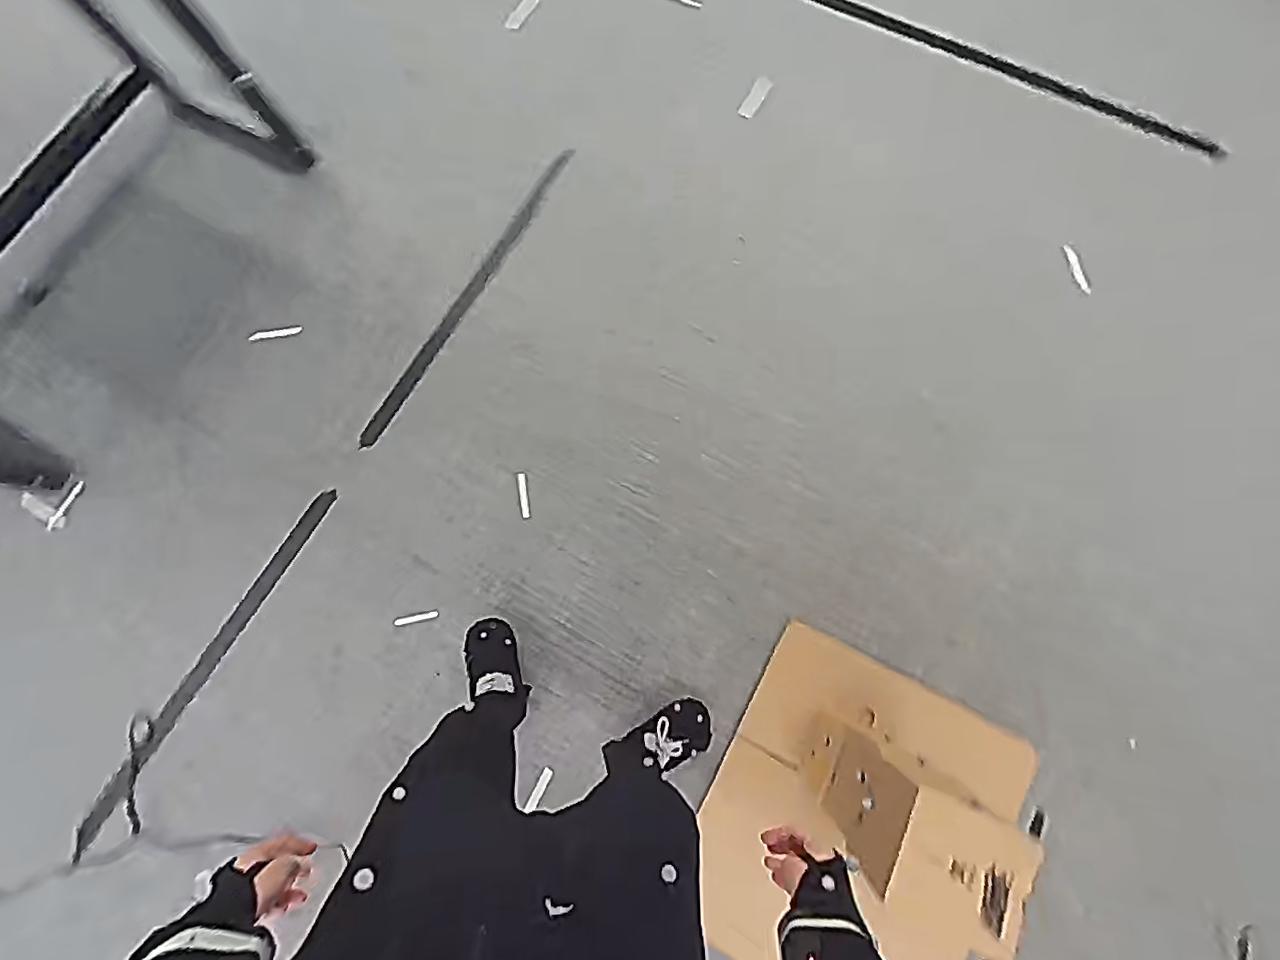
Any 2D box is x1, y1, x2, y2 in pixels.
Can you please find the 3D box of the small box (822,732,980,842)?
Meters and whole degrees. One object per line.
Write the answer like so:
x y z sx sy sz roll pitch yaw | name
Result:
0.457 0.581 0.972 0.179 0.176 0.168 24 80 7 | small box

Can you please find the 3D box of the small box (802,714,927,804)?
0.463 0.613 1.133 0.179 0.176 0.168 25 81 8 | small box

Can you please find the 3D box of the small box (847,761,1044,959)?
0.443 0.555 0.810 0.179 0.176 0.168 24 80 9 | small box
